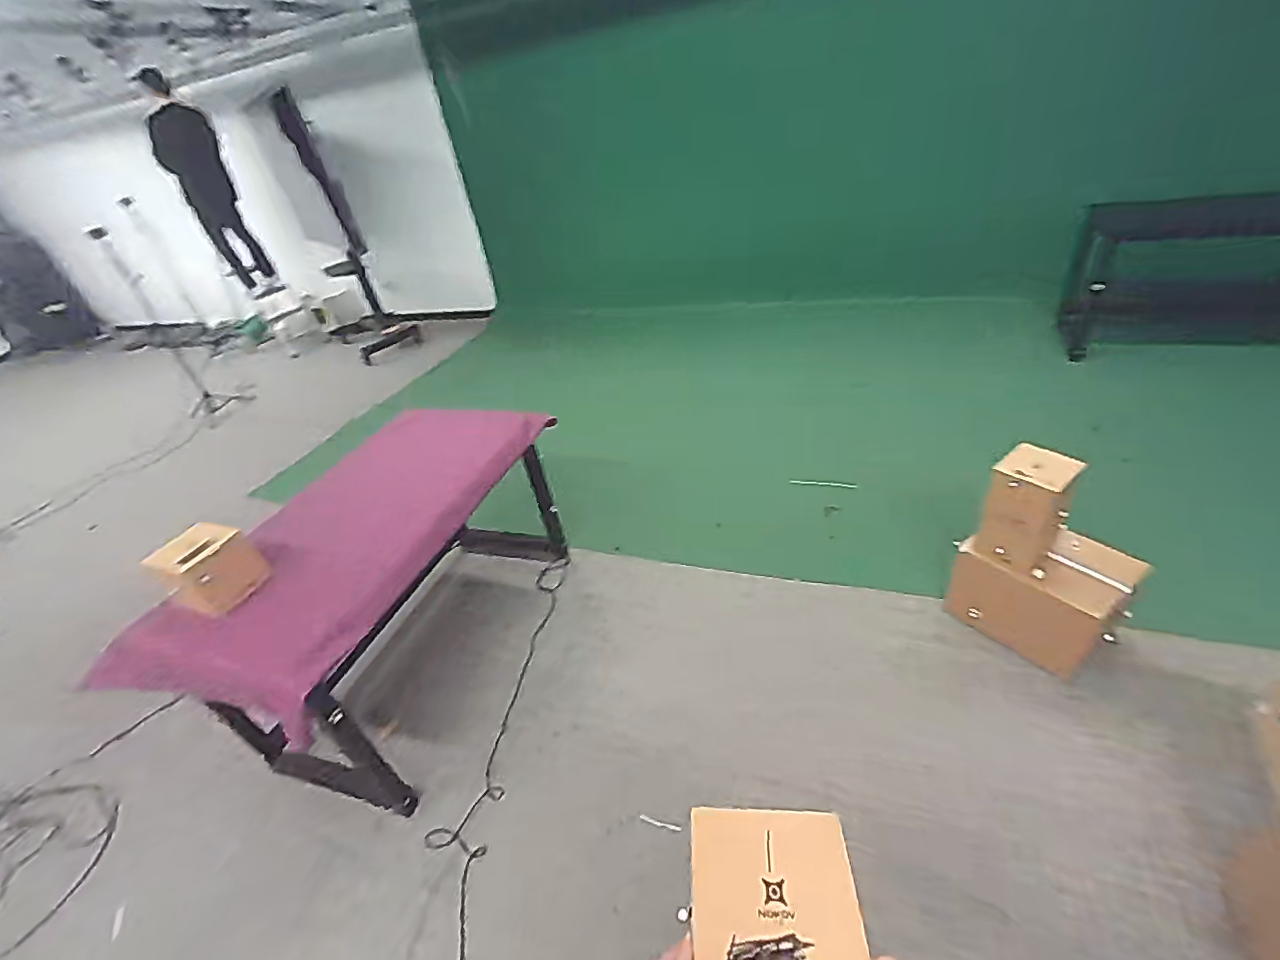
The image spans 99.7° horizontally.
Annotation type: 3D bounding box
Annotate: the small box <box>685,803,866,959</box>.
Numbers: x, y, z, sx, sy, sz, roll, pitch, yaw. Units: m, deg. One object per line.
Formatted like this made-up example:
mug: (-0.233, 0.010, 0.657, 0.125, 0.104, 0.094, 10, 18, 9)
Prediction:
small box: (0.134, 0.480, 0.580, 0.168, 0.176, 0.179, -1, 33, 4)

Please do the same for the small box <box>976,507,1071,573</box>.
small box: (1.183, 0.152, 1.681, 0.179, 0.176, 0.168, -29, 39, -23)

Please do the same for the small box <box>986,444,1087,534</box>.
small box: (1.150, 0.026, 1.581, 0.179, 0.176, 0.168, -29, 40, -24)
